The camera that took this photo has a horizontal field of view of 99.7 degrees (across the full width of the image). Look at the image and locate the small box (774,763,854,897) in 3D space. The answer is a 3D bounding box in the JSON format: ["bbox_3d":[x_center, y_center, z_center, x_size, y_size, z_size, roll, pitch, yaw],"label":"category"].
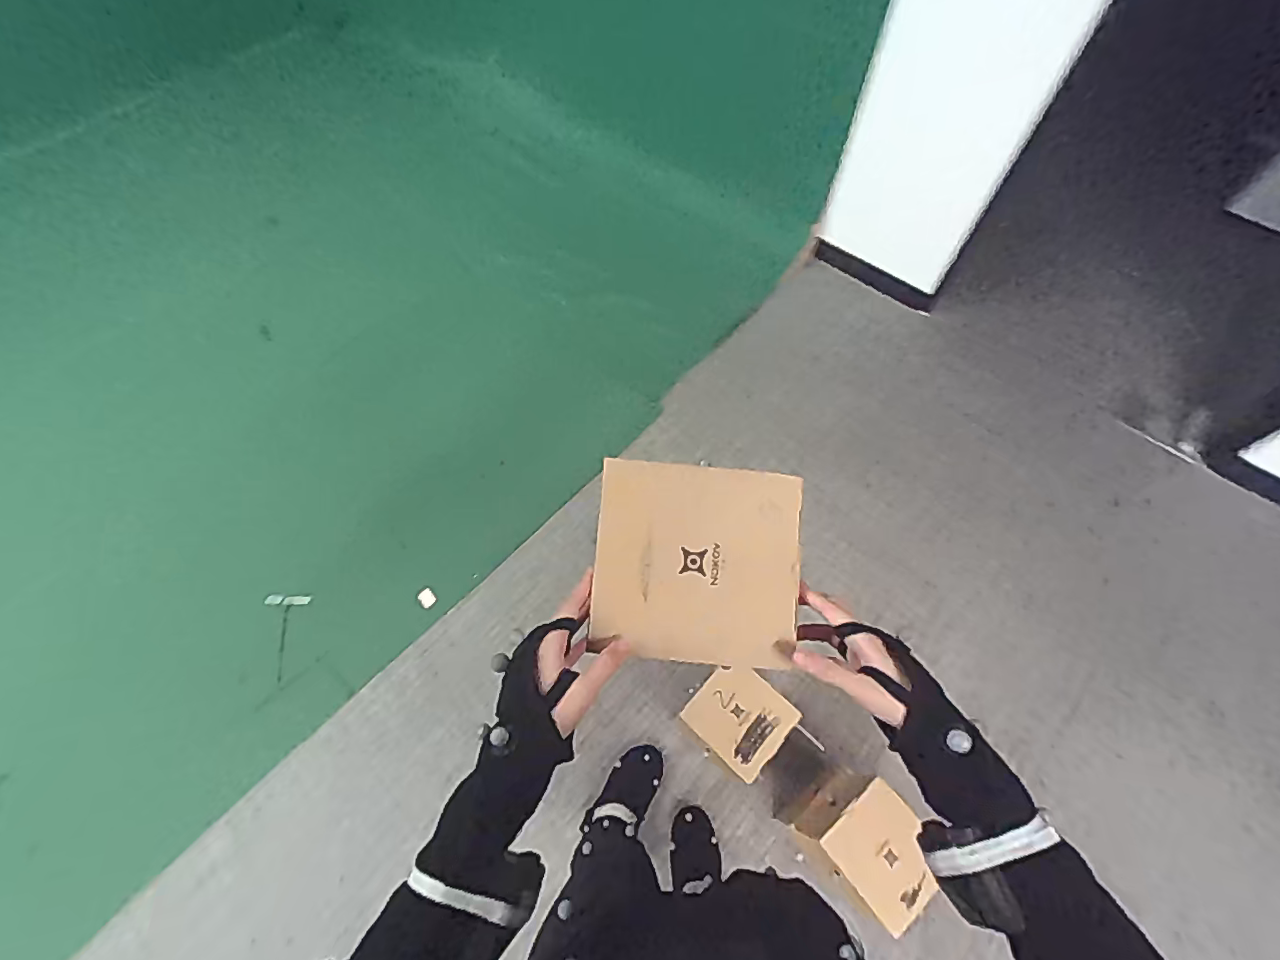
[{"bbox_3d":[0.412,0.733,1.157,0.179,0.176,0.168,-35,67,-16],"label":"small box"}]

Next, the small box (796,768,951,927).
[{"bbox_3d":[0.418,0.669,1.005,0.168,0.176,0.179,-35,66,-16],"label":"small box"}]
